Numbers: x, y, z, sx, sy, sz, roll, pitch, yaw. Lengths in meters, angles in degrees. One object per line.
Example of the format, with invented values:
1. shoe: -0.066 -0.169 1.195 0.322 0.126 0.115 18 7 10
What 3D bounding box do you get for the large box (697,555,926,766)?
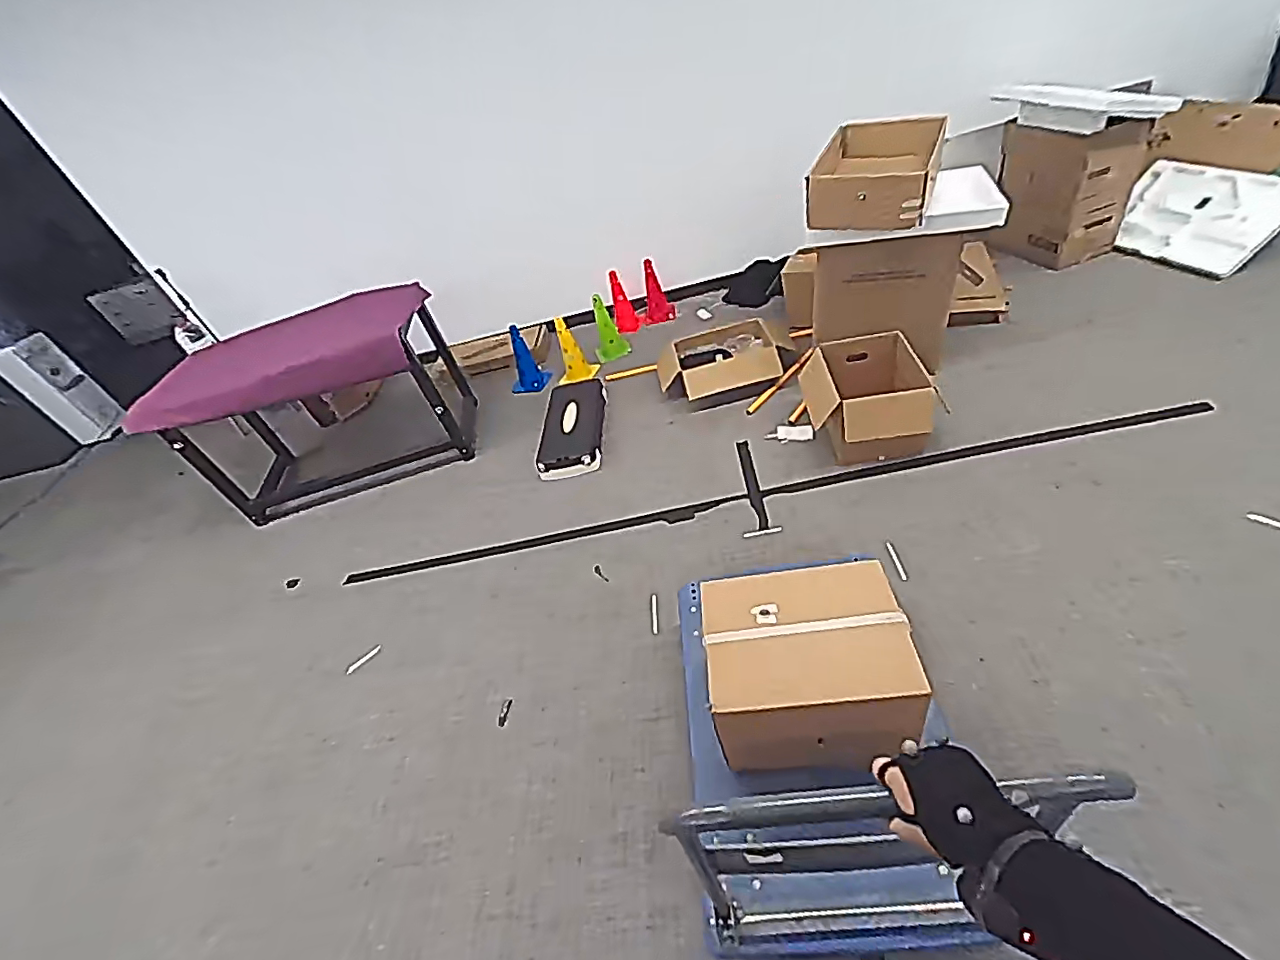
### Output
1. large box: 0.363 0.411 1.211 0.408 0.320 0.320 -11 40 10
